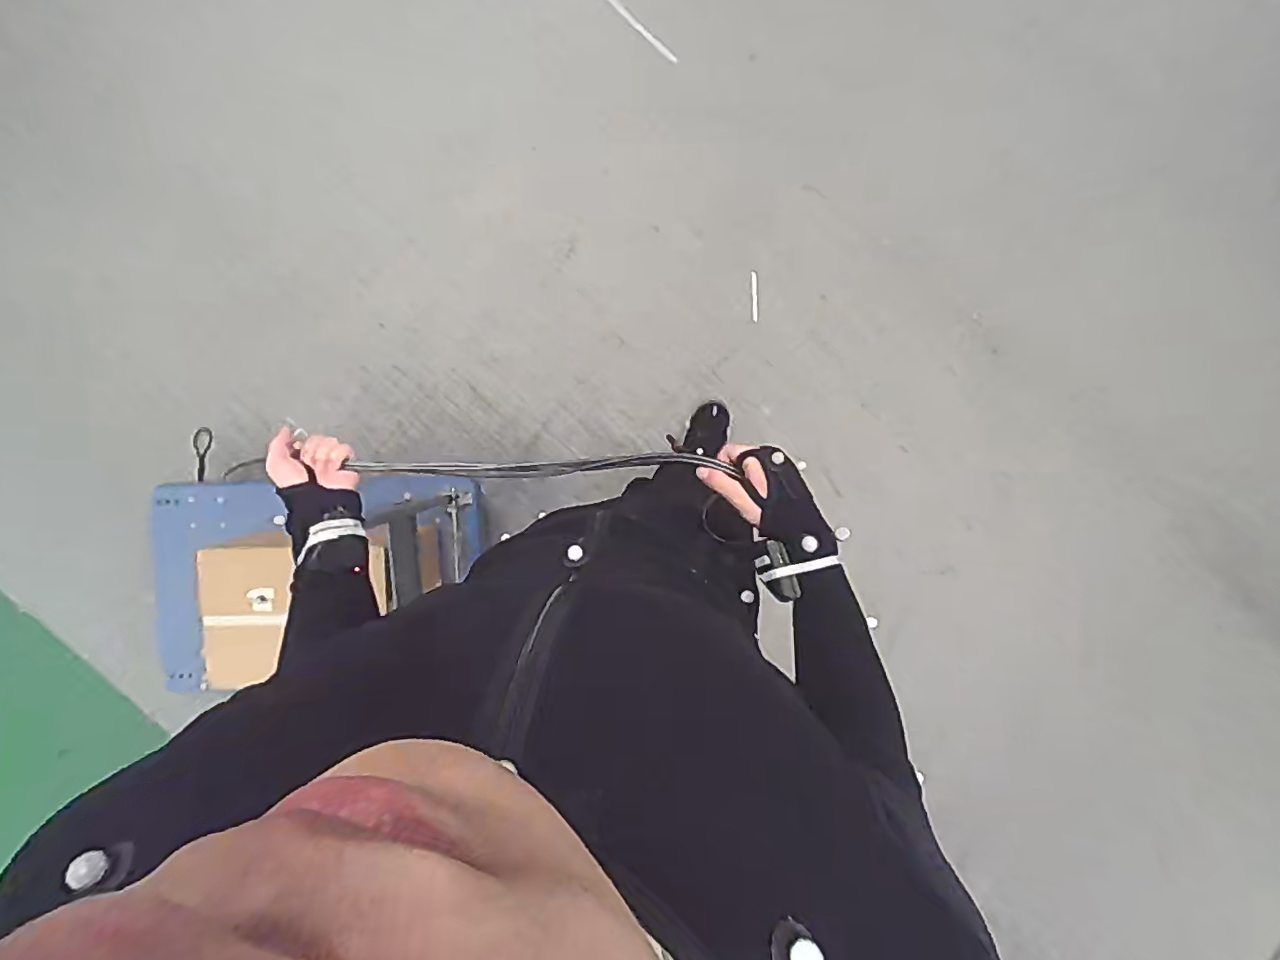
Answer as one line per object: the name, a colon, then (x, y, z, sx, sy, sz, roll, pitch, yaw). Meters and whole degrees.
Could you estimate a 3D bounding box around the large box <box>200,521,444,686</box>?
large box: (-0.730, 0.277, 1.302, 0.408, 0.320, 0.320, -1, 93, 1)
